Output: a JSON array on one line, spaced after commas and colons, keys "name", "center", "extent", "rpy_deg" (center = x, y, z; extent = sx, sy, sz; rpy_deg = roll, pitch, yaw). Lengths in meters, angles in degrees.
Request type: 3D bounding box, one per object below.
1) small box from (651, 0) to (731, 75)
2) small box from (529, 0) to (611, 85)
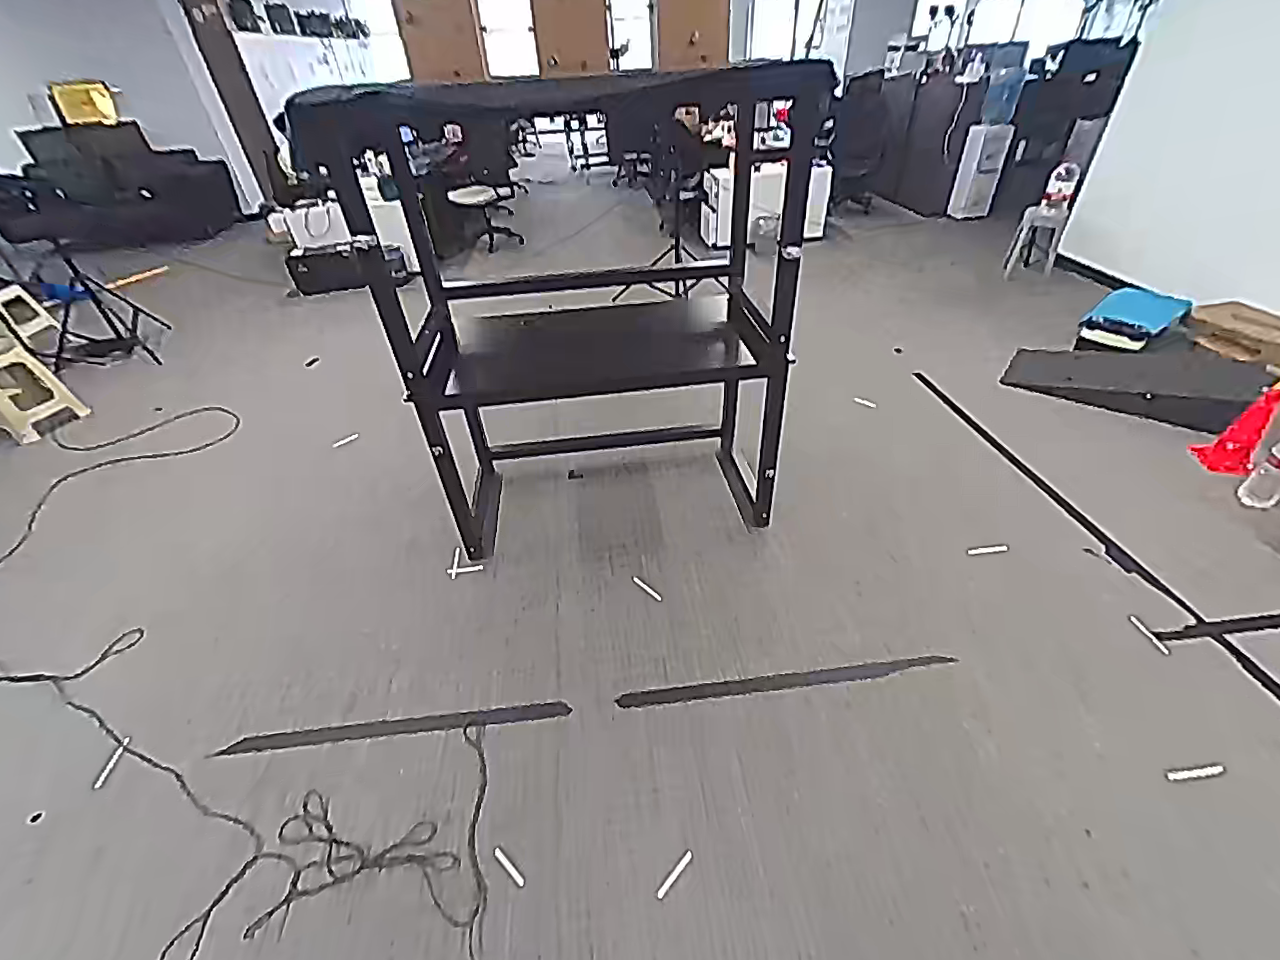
[{"name": "small box", "center": [0.114, -1.062, 1.269], "extent": [0.168, 0.176, 0.179], "rpy_deg": [-7, 38, -1]}, {"name": "small box", "center": [-0.159, -1.030, 1.254], "extent": [0.168, 0.176, 0.179], "rpy_deg": [-6, 36, -3]}]
